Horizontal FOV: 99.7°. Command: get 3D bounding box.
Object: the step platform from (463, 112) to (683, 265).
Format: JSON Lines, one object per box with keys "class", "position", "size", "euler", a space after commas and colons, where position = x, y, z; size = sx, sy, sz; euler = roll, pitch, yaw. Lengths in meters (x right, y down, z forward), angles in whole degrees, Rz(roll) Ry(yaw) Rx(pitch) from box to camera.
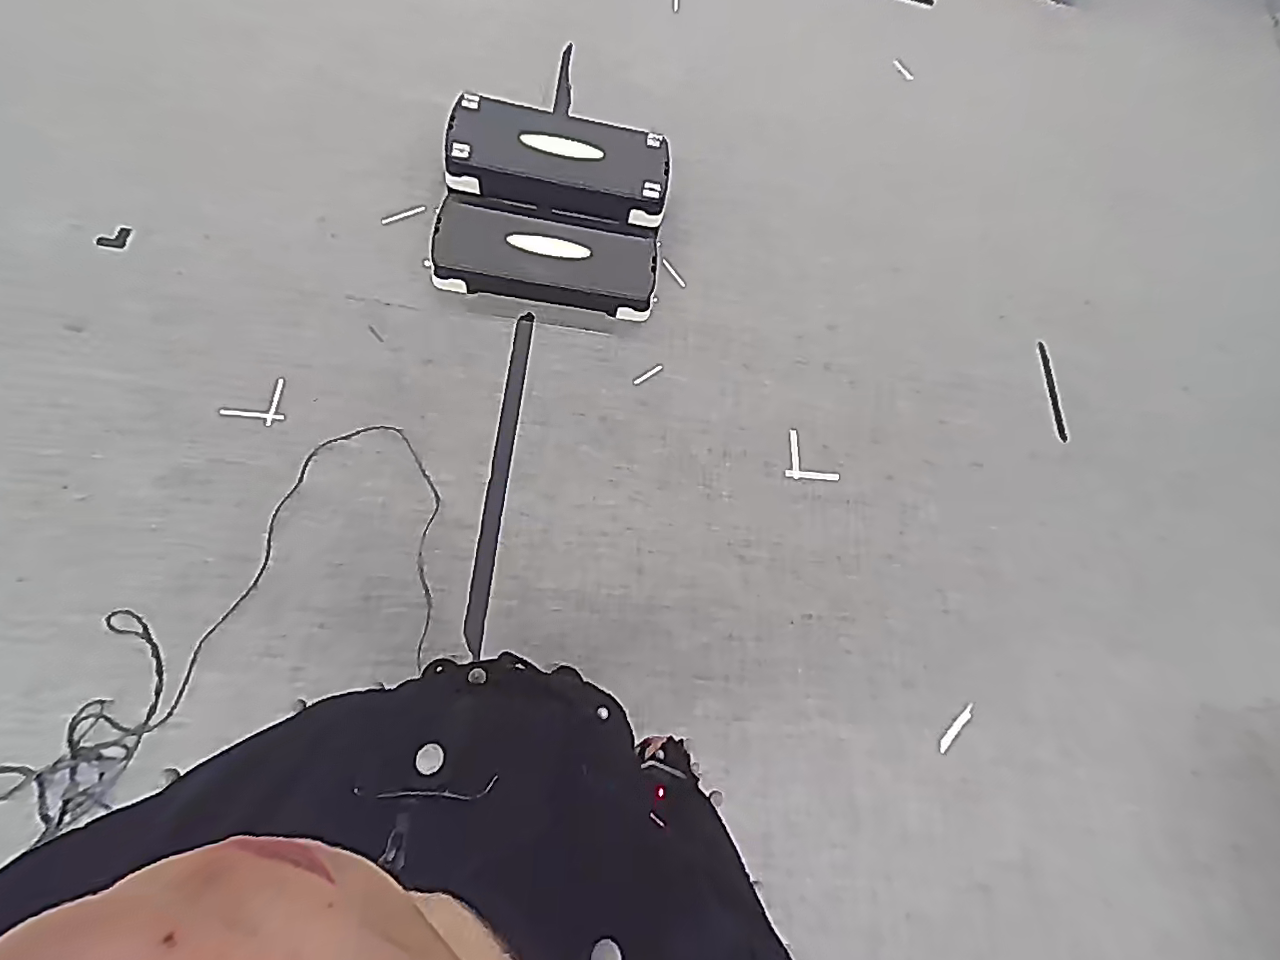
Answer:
{"class": "step platform", "position": [-0.206, -0.931, 1.737], "size": [0.684, 0.204, 0.286], "euler": [11, 69, -7]}
